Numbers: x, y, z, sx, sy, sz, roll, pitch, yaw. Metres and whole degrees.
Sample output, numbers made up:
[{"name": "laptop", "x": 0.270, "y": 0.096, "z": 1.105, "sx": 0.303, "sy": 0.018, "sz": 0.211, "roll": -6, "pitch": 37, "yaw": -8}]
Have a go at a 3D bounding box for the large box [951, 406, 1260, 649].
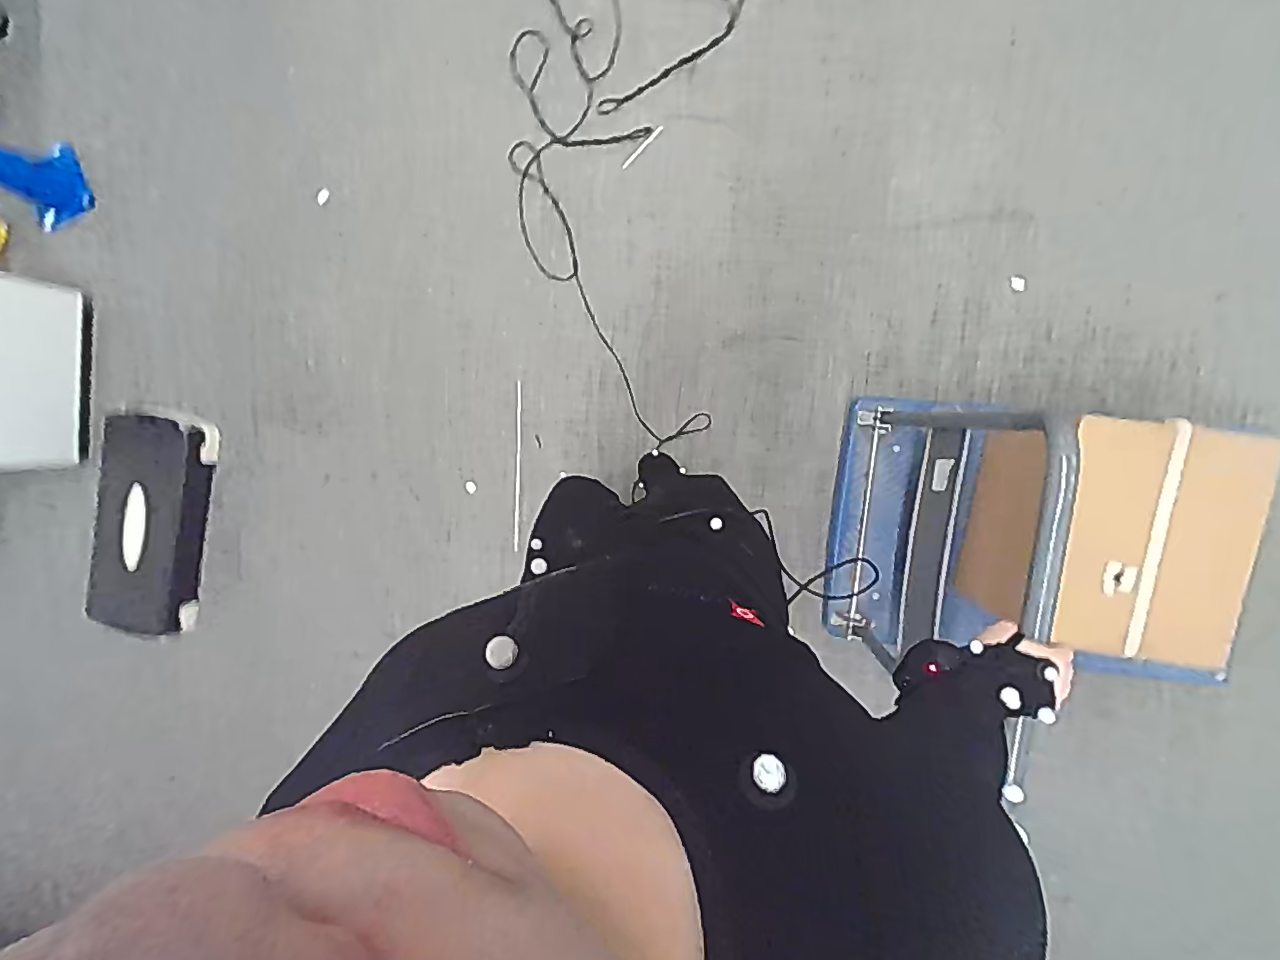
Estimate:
[{"name": "large box", "x": 0.877, "y": 0.066, "z": 1.081, "sx": 0.320, "sy": 0.320, "sz": 0.408, "roll": 8, "pitch": 97, "yaw": 7}]
